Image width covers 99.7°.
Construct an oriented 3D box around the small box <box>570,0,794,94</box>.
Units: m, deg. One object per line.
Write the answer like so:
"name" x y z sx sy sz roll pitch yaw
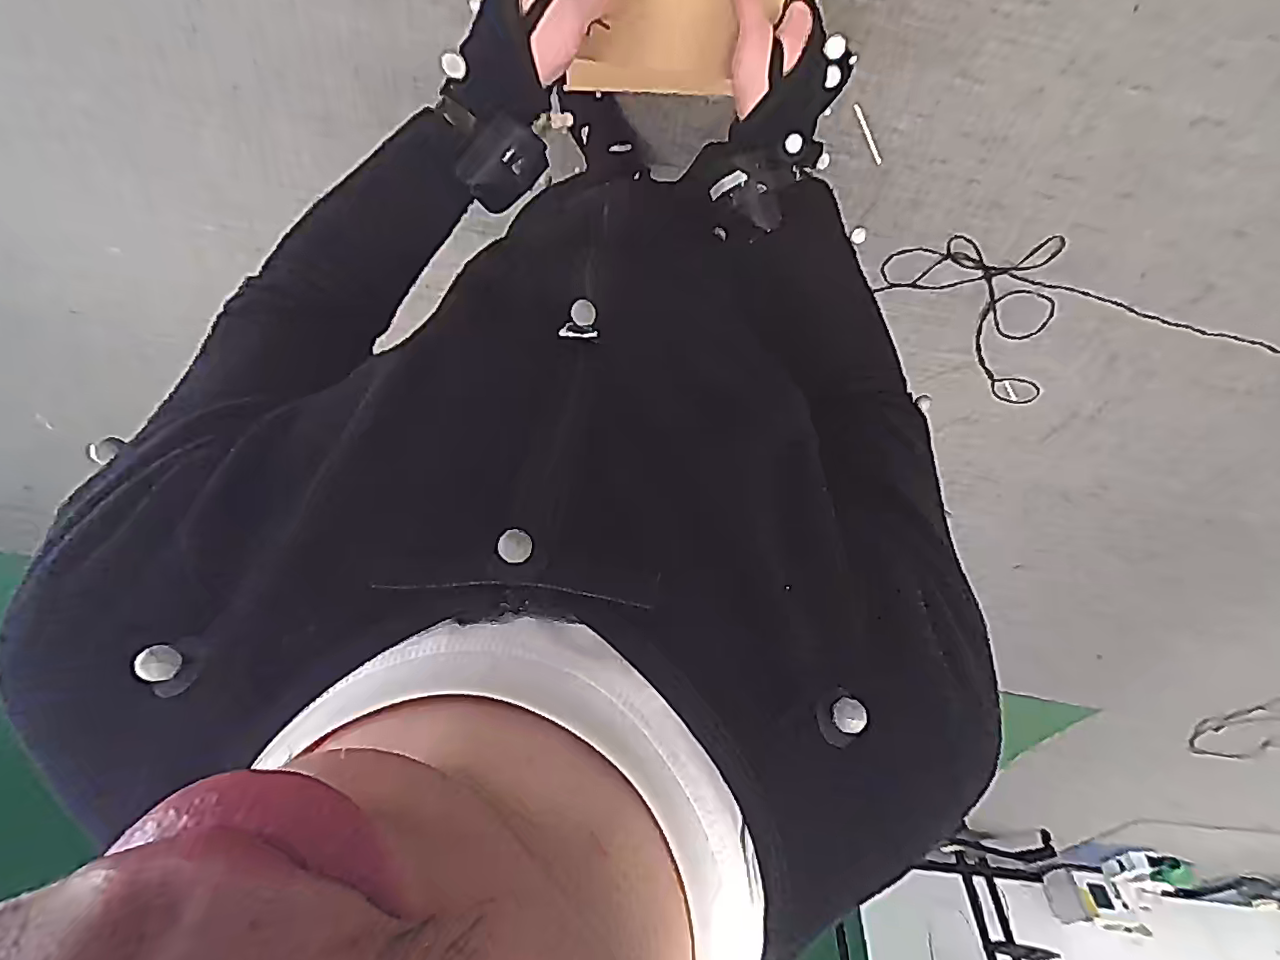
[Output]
"small box" 0.043 -0.450 0.445 0.179 0.176 0.168 9 141 2
